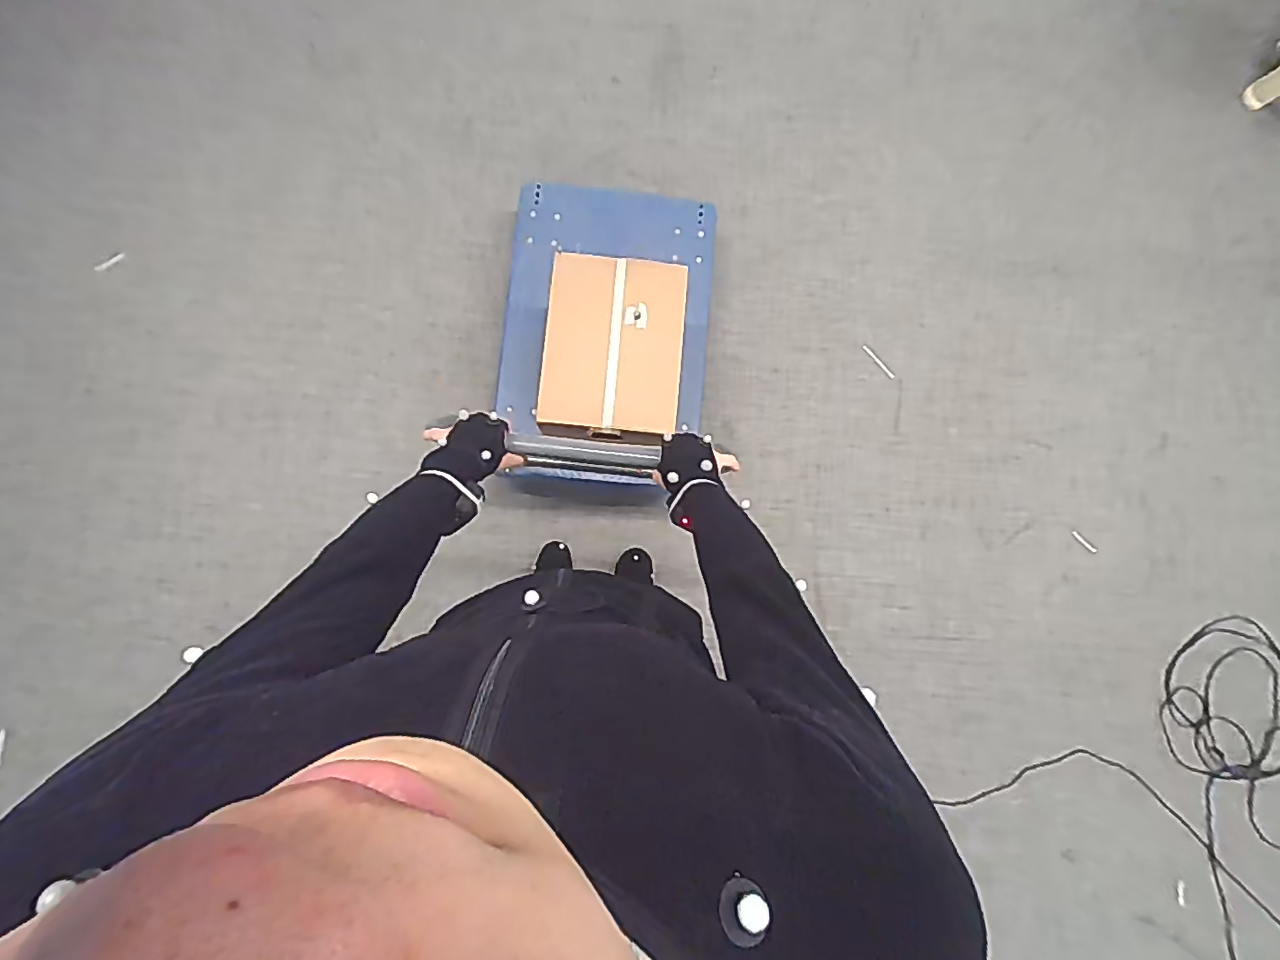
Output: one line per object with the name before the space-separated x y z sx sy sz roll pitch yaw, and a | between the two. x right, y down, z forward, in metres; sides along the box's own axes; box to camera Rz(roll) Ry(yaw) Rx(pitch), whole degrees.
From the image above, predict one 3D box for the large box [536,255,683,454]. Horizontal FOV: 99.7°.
large box | -0.073 -0.293 1.373 0.320 0.320 0.408 5 82 -4
